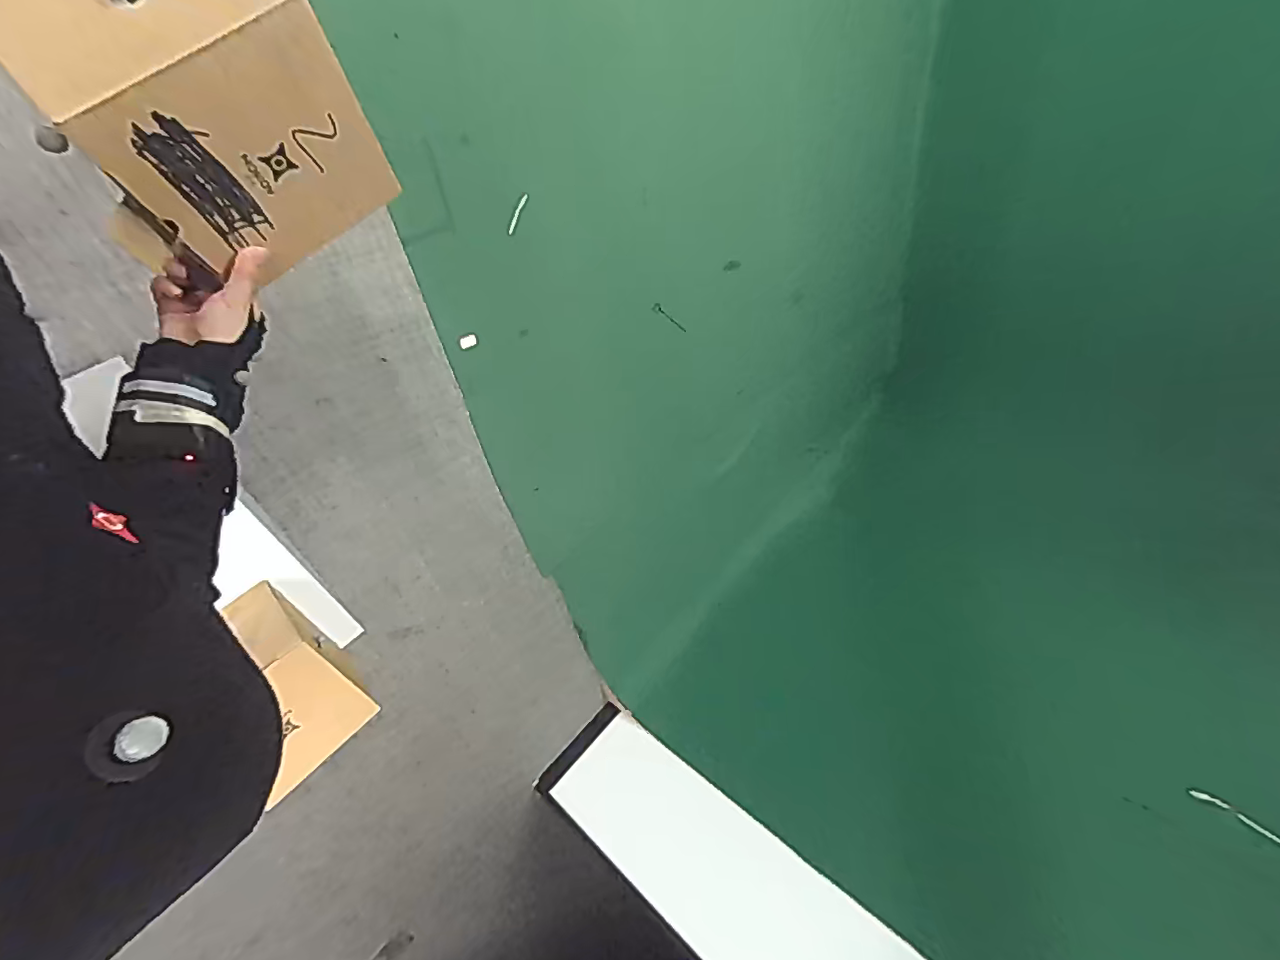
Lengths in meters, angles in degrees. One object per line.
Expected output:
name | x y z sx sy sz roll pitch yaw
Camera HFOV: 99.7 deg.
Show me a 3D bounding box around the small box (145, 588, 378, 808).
small box | -0.489 0.274 0.707 0.168 0.176 0.179 -42 134 -26
